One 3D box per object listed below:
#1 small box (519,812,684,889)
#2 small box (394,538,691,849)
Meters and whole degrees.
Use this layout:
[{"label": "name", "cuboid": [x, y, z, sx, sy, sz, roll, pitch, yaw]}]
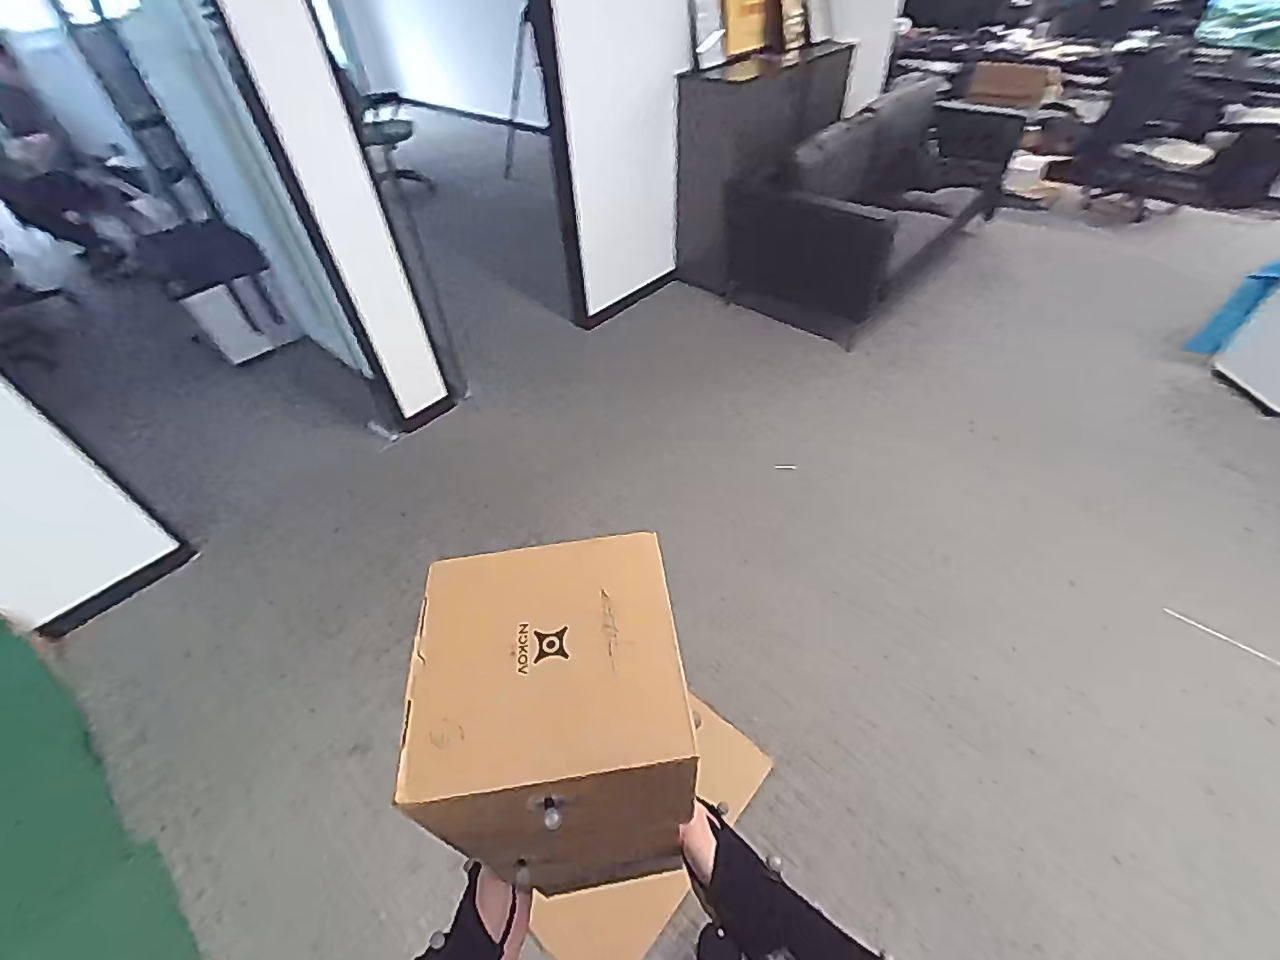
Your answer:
[{"label": "small box", "cuboid": [-0.044, 0.383, 0.668, 0.179, 0.176, 0.168, -8, 46, -4]}, {"label": "small box", "cuboid": [-0.058, 0.168, 0.421, 0.179, 0.176, 0.168, -7, 47, -2]}]
